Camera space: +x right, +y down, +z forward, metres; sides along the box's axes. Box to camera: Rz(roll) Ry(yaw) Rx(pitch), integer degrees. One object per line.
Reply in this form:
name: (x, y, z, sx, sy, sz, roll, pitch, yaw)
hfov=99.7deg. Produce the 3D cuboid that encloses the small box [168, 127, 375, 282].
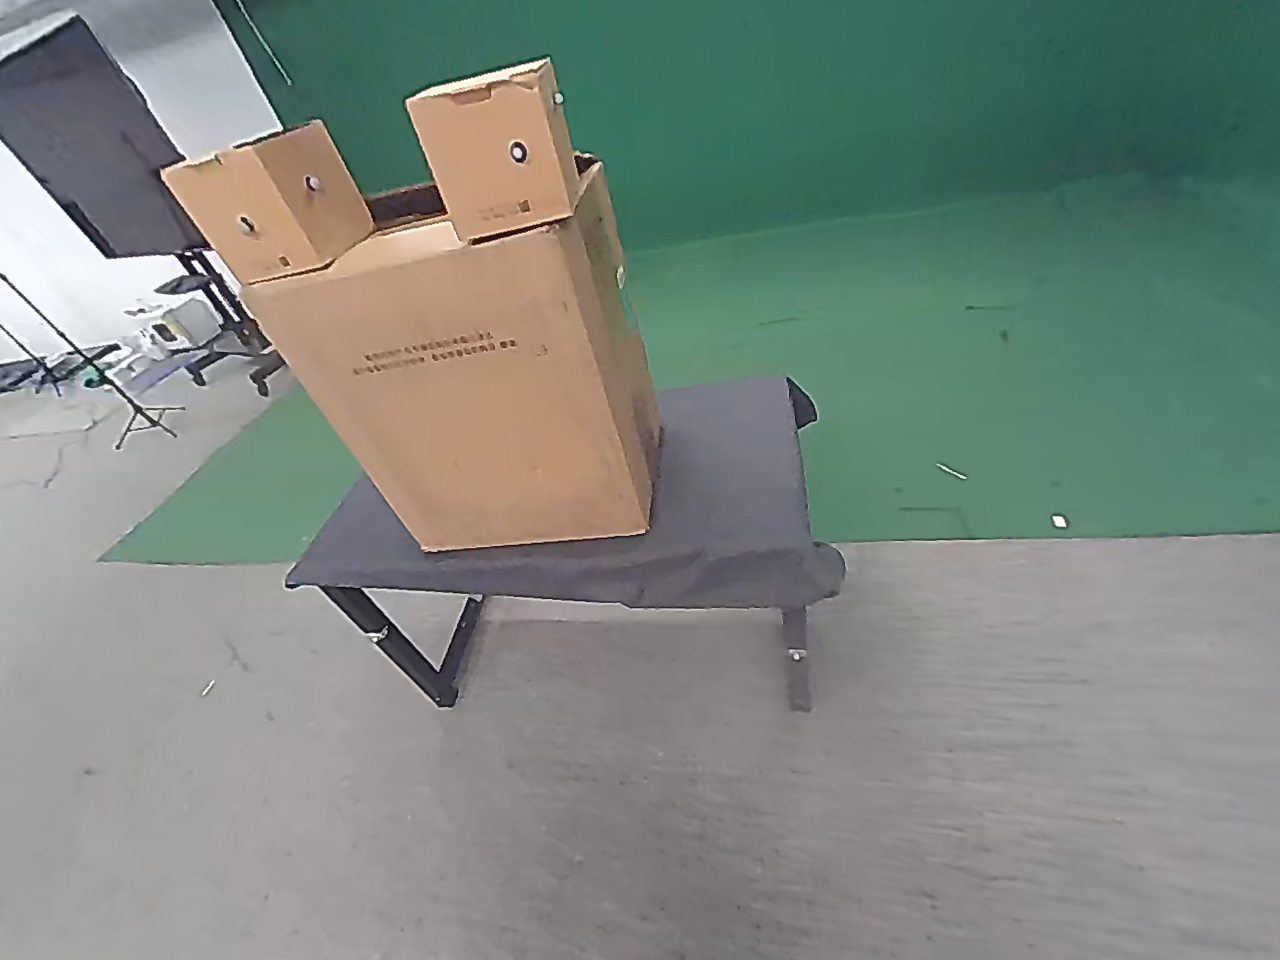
small box: (-0.559, -0.426, 0.853, 0.168, 0.176, 0.179, -5, 42, 13)

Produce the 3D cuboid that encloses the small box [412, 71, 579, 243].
small box: (-0.186, -0.449, 0.761, 0.168, 0.176, 0.179, -8, 40, 5)
